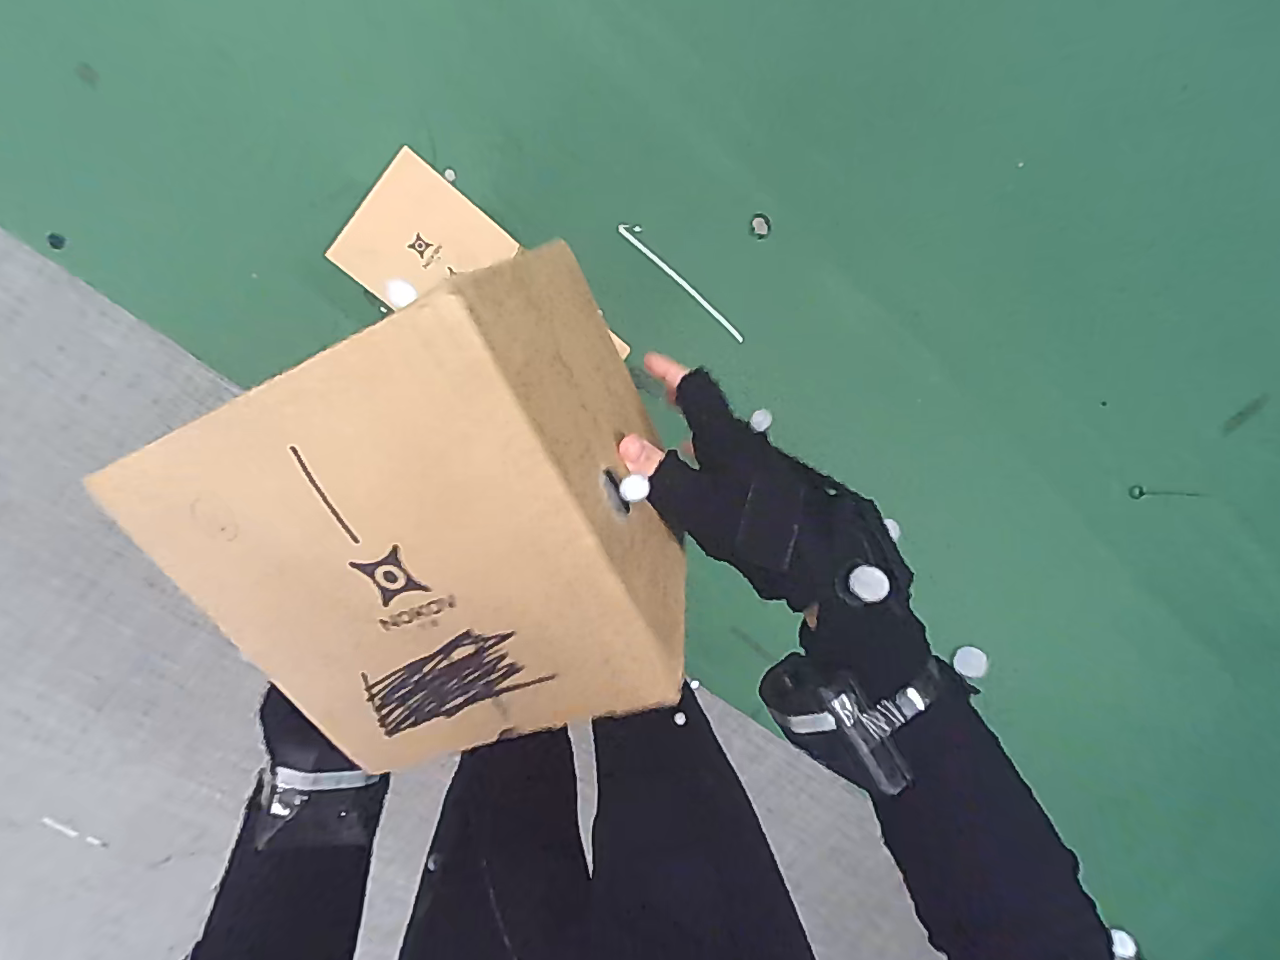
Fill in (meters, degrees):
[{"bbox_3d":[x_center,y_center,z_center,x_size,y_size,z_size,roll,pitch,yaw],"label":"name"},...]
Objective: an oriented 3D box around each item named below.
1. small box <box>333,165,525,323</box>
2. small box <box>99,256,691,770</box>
[{"bbox_3d":[-0.271,-0.282,0.751,0.179,0.176,0.168,39,95,-13],"label":"small box"},{"bbox_3d":[-0.082,0.007,0.281,0.168,0.176,0.179,-21,116,11],"label":"small box"}]
